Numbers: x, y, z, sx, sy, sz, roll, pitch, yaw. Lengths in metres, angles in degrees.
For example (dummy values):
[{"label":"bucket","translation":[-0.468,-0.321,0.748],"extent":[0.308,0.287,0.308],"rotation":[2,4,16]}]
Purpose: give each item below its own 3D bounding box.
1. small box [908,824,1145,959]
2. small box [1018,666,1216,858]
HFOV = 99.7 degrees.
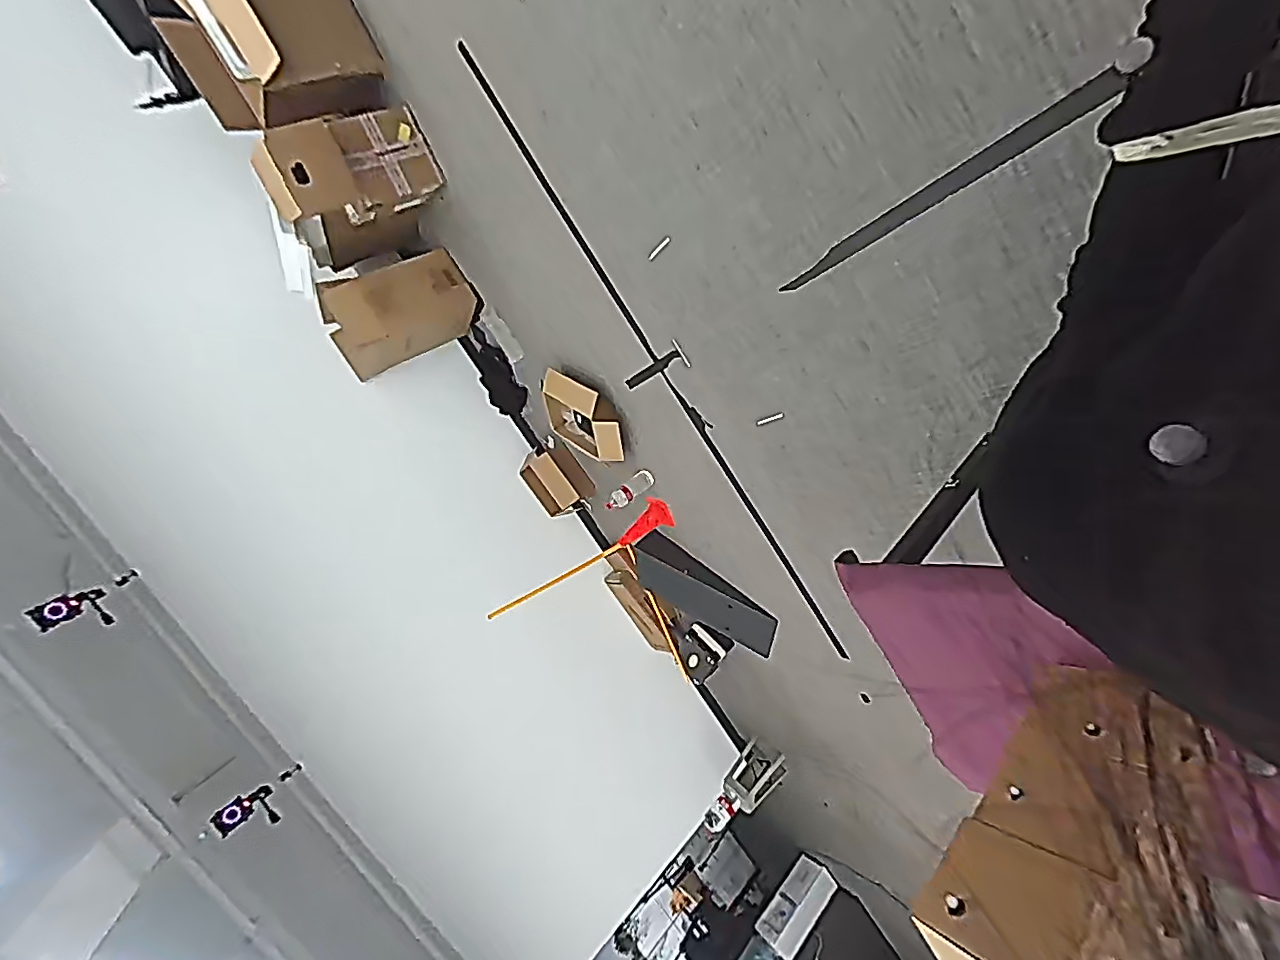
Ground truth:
[{"label":"small box","translation":[0.494,0.591,0.695],"extent":[0.168,0.176,0.179],"rotation":[58,153,-10]},{"label":"small box","translation":[0.737,0.415,0.832],"extent":[0.168,0.176,0.179],"rotation":[59,154,-10]}]
